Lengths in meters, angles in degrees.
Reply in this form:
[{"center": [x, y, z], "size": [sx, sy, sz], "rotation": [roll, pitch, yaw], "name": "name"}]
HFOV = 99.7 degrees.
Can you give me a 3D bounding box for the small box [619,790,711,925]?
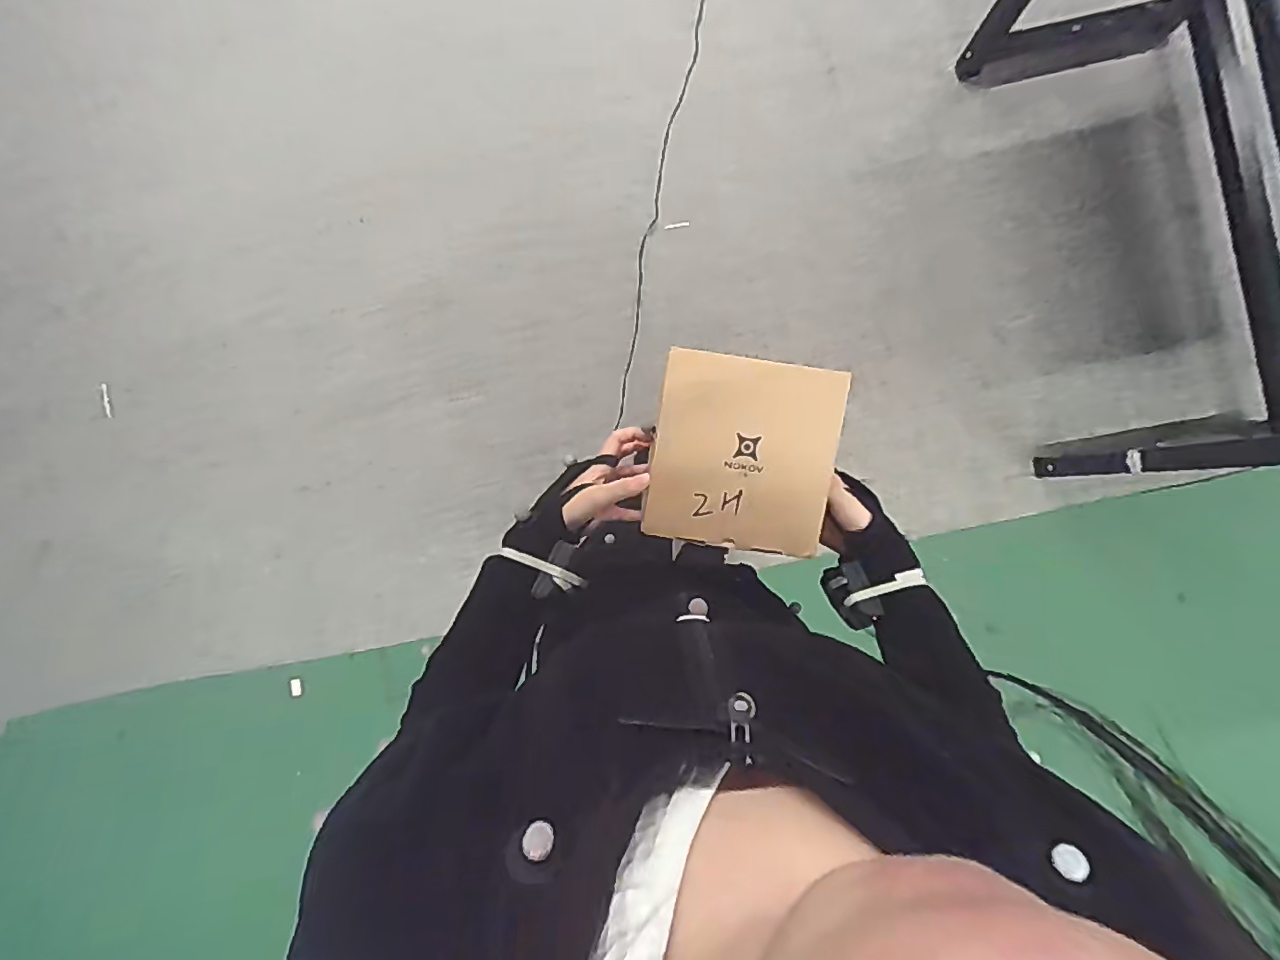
[{"center": [0.059, 0.857, 1.242], "size": [0.168, 0.176, 0.179], "rotation": [-16, 88, 3], "name": "small box"}]
